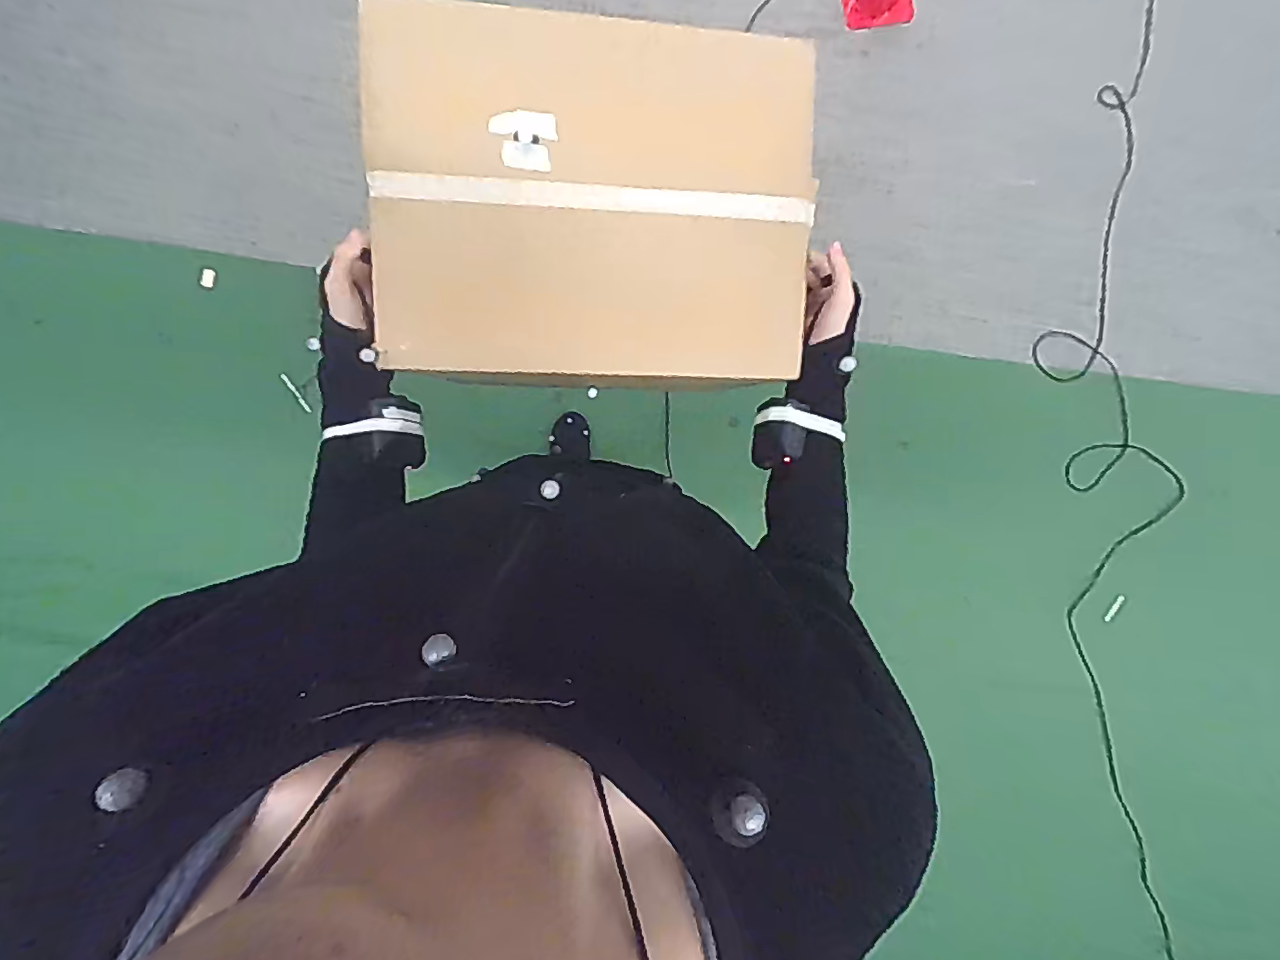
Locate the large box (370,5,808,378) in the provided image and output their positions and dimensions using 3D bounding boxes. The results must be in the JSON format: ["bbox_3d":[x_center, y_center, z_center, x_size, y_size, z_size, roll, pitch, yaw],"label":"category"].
[{"bbox_3d":[-0.053,-0.284,0.655,0.408,0.320,0.320,0,97,-6],"label":"large box"}]
